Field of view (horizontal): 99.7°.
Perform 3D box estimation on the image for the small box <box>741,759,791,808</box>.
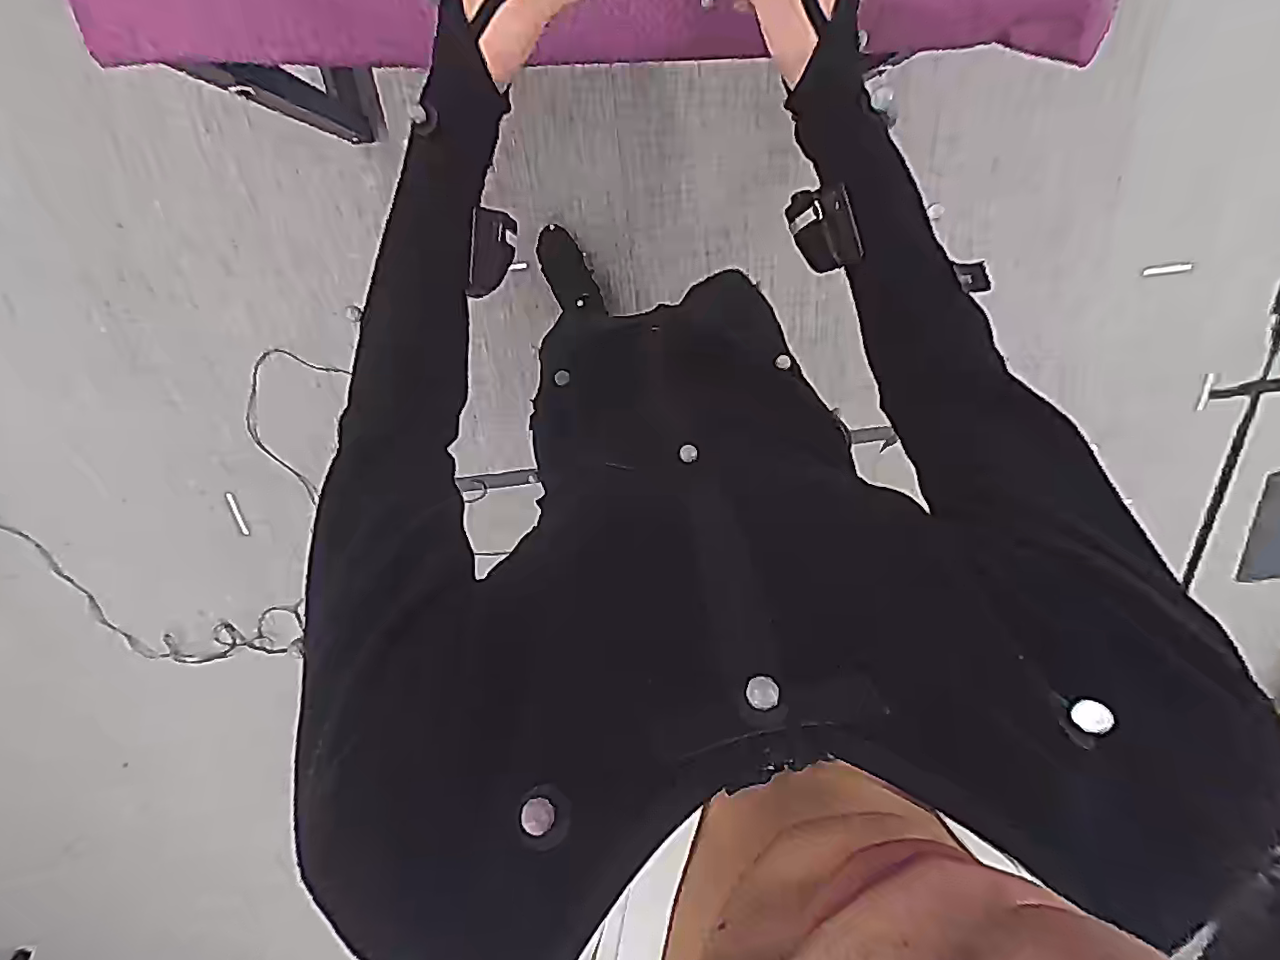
[{"bbox_3d":[0.532,1.322,2.287,0.168,0.176,0.179,-12,115,-2],"label":"small box"}]
